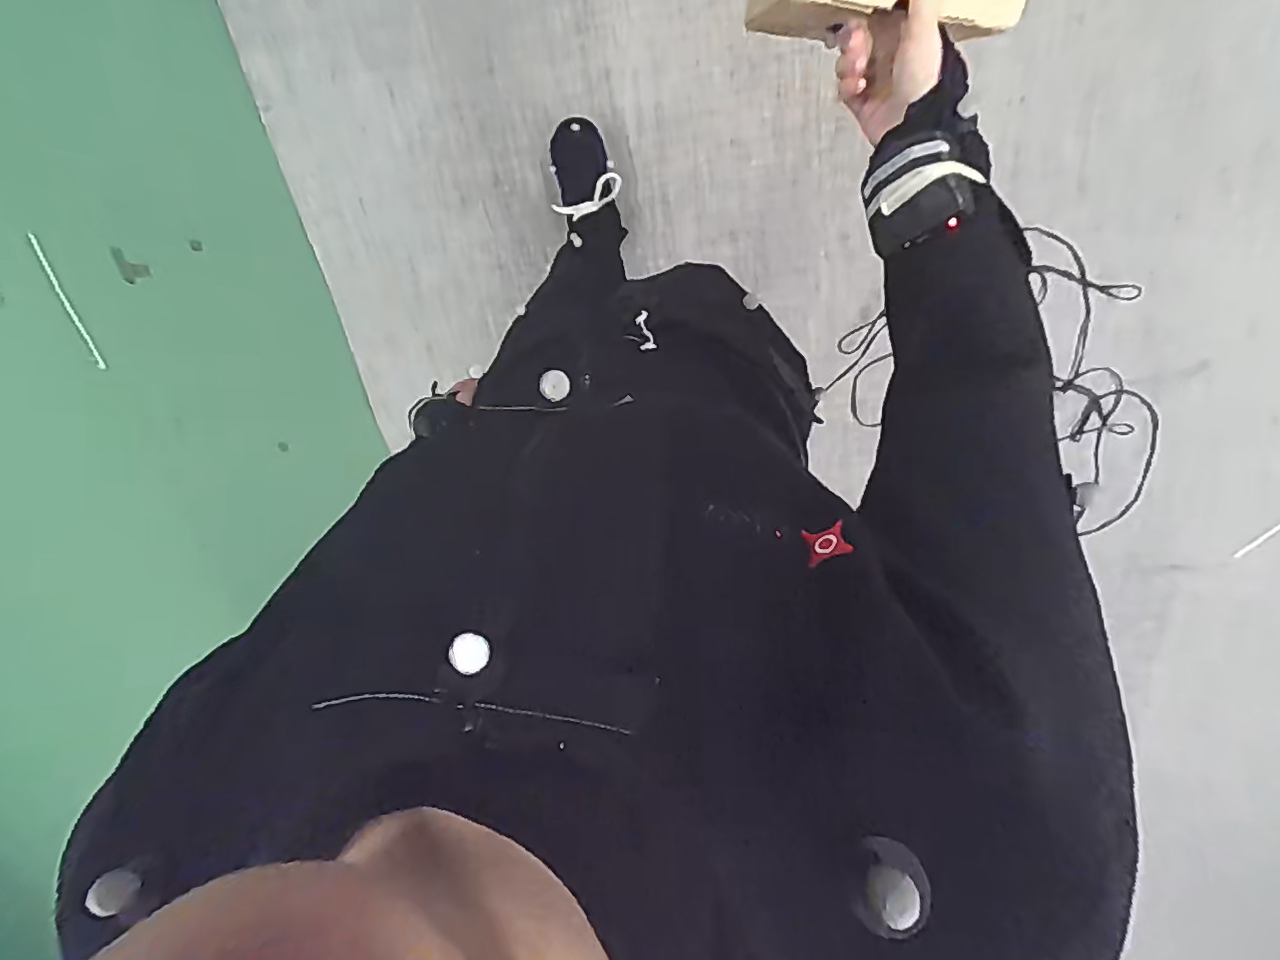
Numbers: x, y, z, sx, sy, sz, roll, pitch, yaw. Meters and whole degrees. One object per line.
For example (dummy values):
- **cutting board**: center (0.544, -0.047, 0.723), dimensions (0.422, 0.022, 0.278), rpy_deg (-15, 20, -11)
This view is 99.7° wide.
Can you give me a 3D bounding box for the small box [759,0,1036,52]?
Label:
- **small box**: center (0.195, -0.436, 0.389), dimensions (0.168, 0.176, 0.179), rpy_deg (5, 125, -5)
